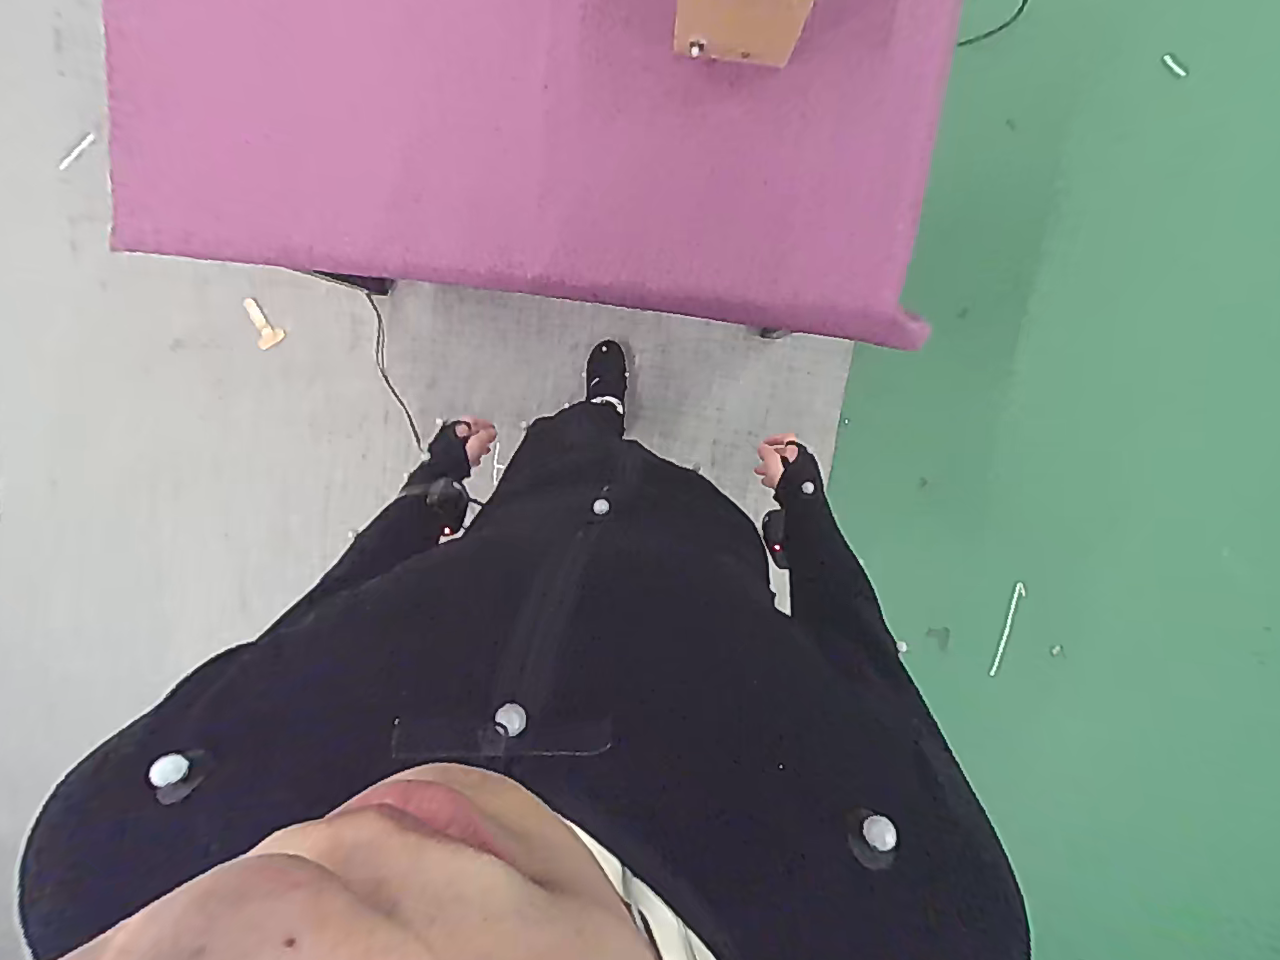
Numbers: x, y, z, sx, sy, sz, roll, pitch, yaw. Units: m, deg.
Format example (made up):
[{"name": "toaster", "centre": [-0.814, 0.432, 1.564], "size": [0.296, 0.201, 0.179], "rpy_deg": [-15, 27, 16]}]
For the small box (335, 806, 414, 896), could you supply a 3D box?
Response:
[{"name": "small box", "centre": [-0.861, 1.207, 1.768], "size": [0.179, 0.176, 0.168], "rpy_deg": [10, 101, 0]}]

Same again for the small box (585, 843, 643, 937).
[{"name": "small box", "centre": [-0.081, 1.347, 1.782], "size": [0.168, 0.176, 0.179], "rpy_deg": [8, 102, -1]}]

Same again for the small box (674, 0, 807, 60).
[{"name": "small box", "centre": [0.135, -0.669, 0.671], "size": [0.168, 0.176, 0.179], "rpy_deg": [7, 100, -1]}]
